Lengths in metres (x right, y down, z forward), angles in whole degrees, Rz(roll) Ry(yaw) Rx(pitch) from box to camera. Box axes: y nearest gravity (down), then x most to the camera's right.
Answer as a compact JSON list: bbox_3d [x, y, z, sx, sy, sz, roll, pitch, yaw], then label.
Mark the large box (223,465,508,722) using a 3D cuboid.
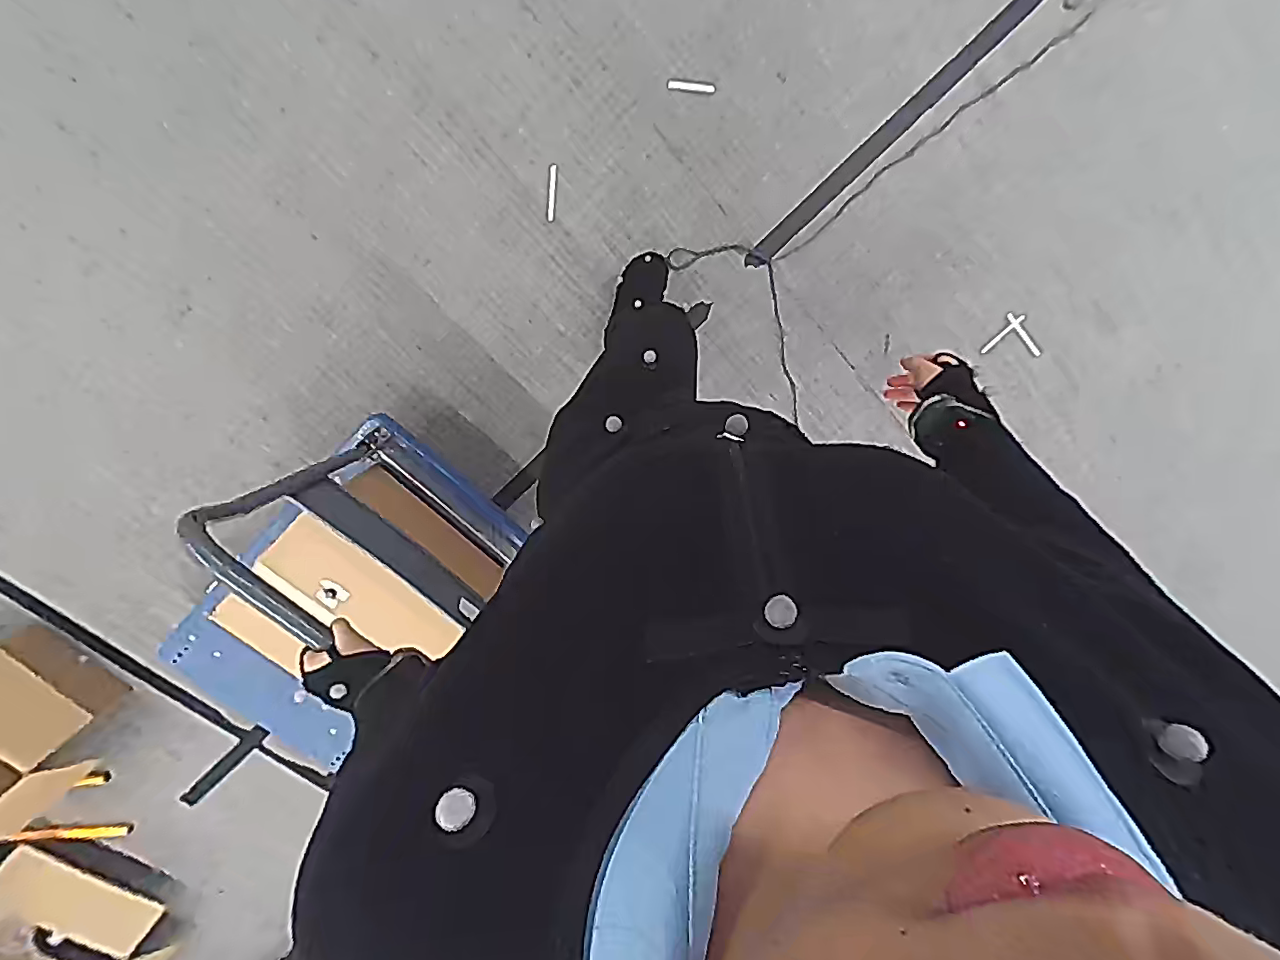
[{"bbox_3d":[-0.566,0.234,1.203,0.408,0.320,0.320,44,98,-13],"label":"large box"}]
